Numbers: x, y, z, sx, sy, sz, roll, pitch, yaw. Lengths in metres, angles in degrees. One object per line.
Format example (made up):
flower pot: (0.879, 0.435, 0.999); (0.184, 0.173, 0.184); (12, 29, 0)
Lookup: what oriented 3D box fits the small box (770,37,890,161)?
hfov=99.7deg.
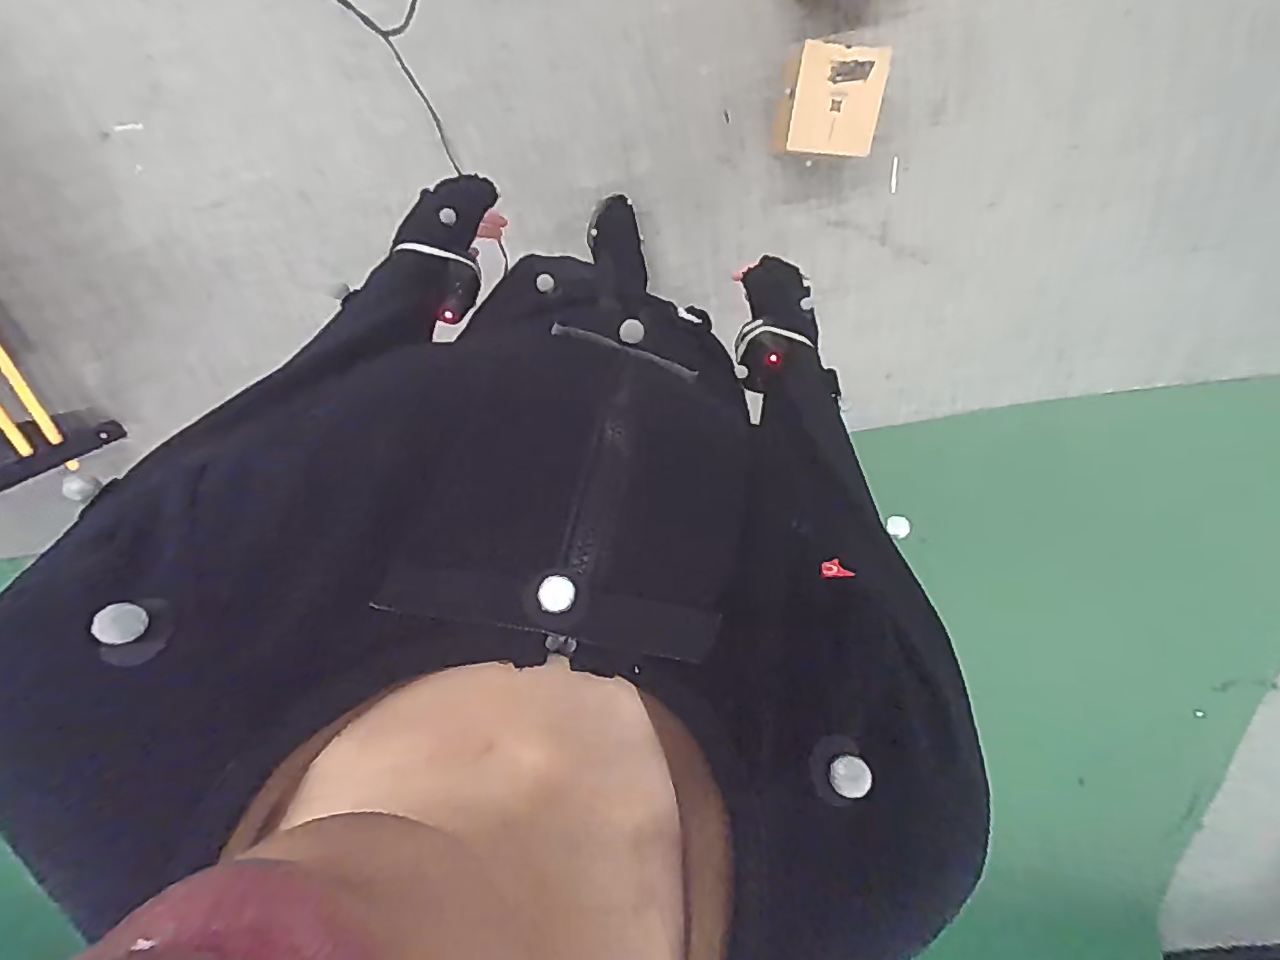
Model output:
small box: (0.371, -0.758, 1.092); (0.168, 0.176, 0.179); (5, 118, -1)
